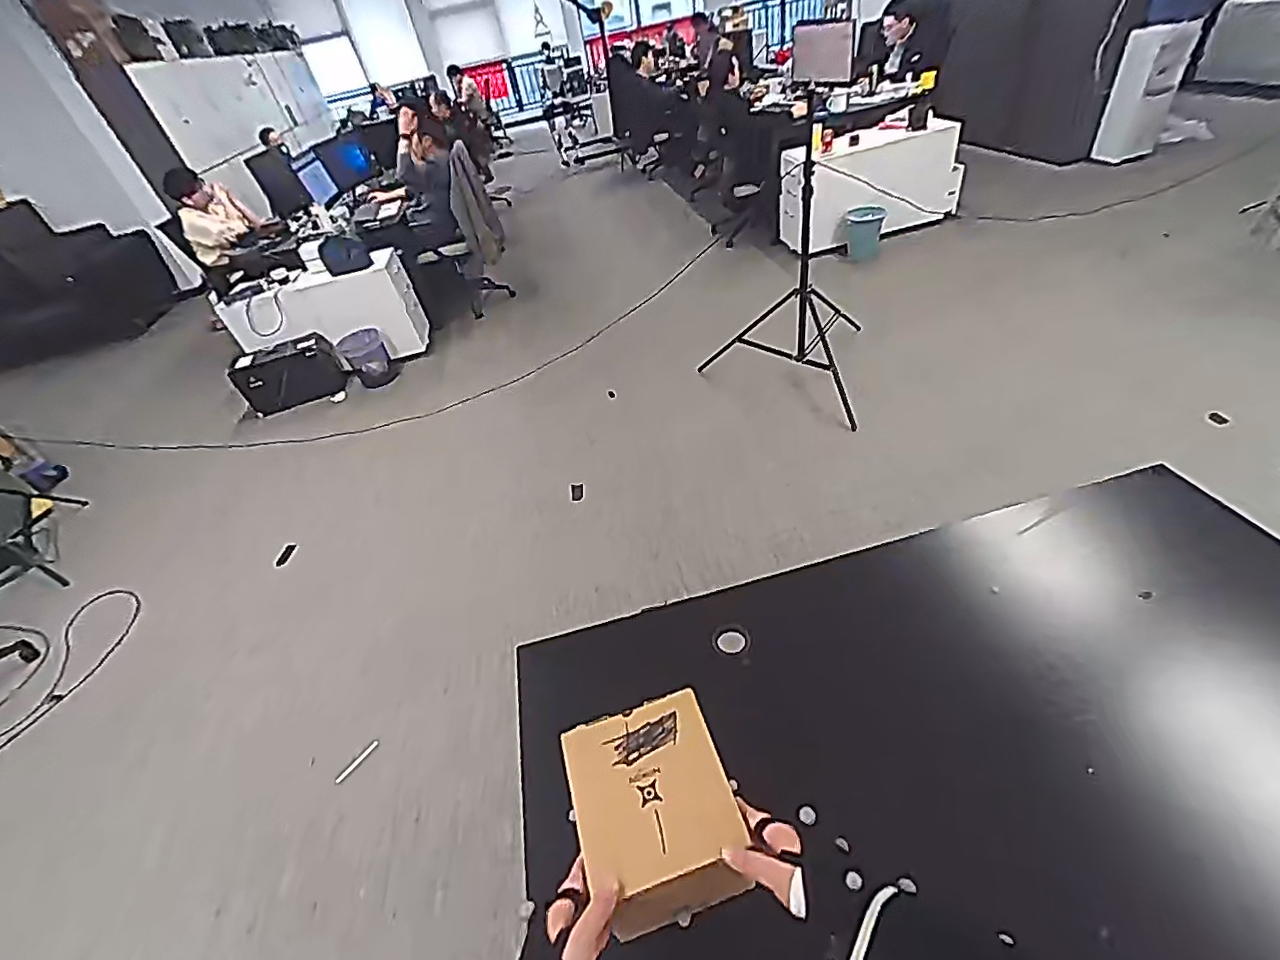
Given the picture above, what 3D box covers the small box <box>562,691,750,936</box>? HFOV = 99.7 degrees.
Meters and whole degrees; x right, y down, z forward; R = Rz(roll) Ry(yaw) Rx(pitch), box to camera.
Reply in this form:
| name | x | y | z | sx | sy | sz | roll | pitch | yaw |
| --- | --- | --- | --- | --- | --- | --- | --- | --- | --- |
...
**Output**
| name | x | y | z | sx | sy | sz | roll | pitch | yaw |
| --- | --- | --- | --- | --- | --- | --- | --- | --- | --- |
| small box | 0.017 | 0.390 | 0.637 | 0.168 | 0.176 | 0.179 | -17 | 42 | -7 |
